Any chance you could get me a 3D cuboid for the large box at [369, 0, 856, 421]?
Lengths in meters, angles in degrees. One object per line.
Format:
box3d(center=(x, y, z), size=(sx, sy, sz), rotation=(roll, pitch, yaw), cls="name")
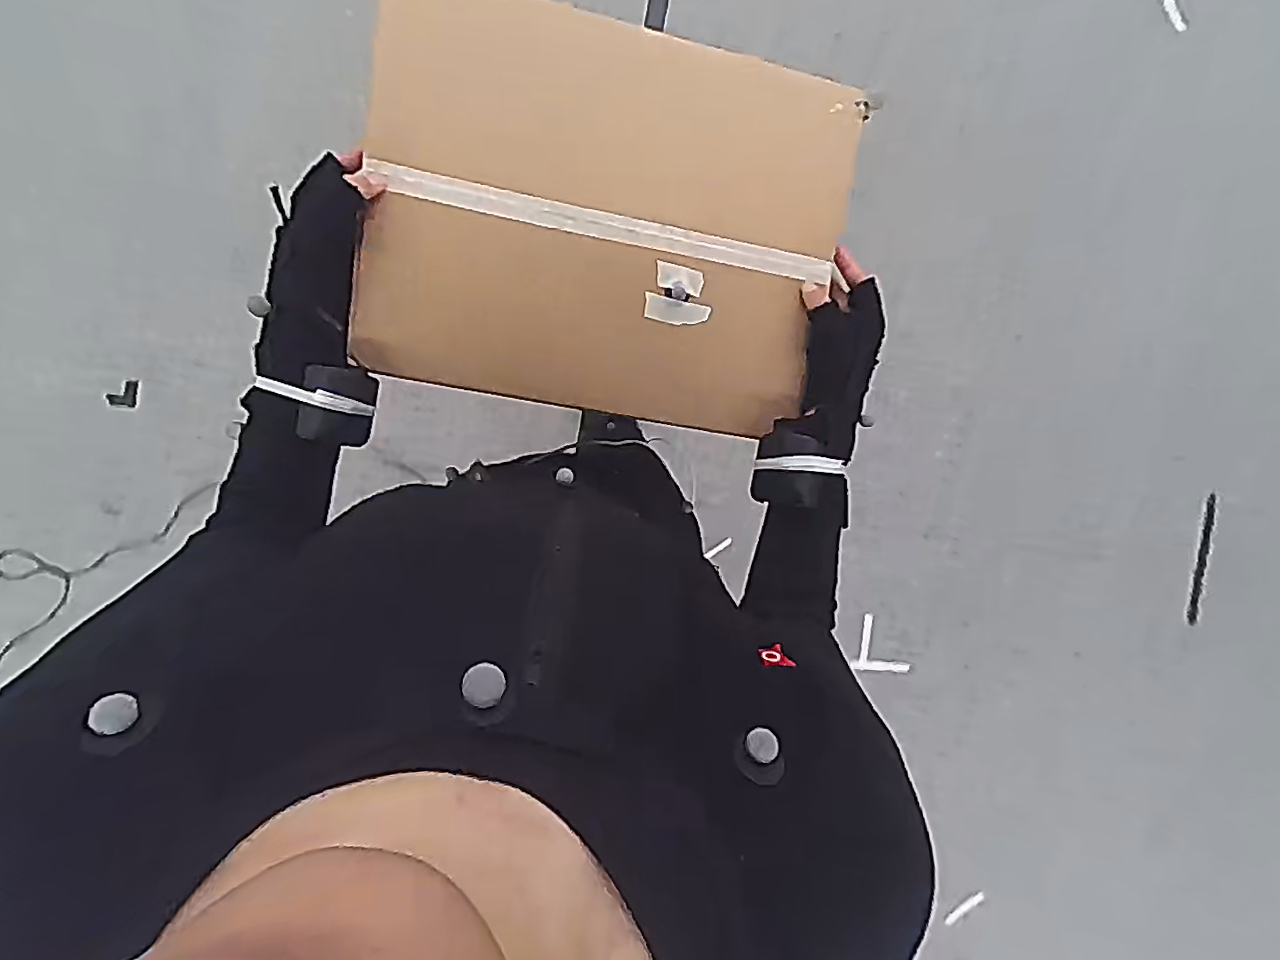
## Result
box3d(center=(-0.042, -0.256, 0.622), size=(0.408, 0.320, 0.320), rotation=(8, 100, -9), cls="large box")
